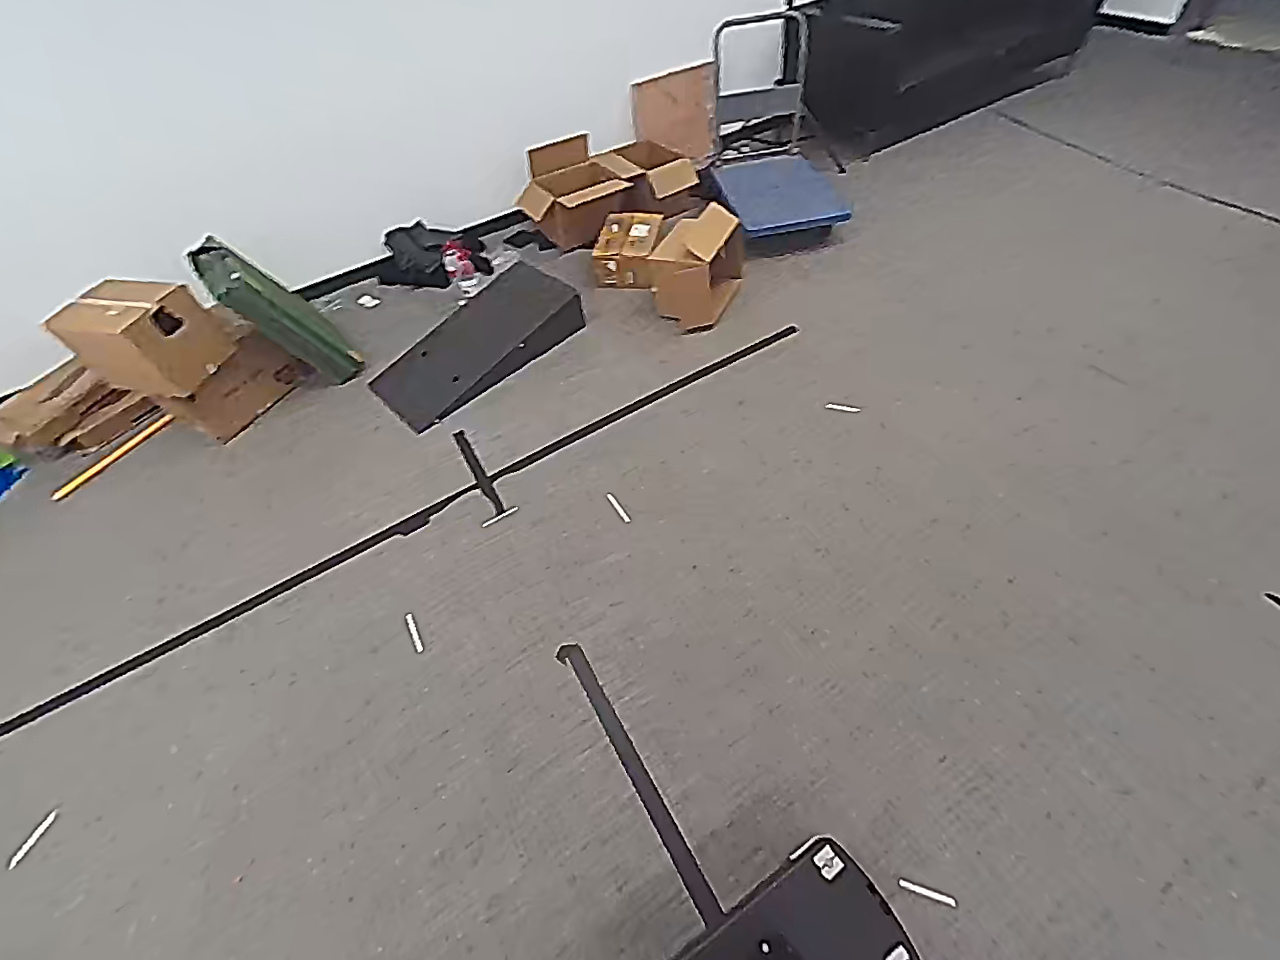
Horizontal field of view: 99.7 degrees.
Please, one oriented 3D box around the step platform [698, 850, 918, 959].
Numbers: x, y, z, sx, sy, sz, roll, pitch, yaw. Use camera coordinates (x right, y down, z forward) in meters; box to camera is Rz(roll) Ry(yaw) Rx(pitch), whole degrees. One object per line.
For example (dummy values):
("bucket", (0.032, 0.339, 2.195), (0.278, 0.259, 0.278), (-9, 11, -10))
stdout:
("step platform", (0.227, 1.075, 1.069), (0.684, 0.204, 0.286), (-29, 54, -17))
